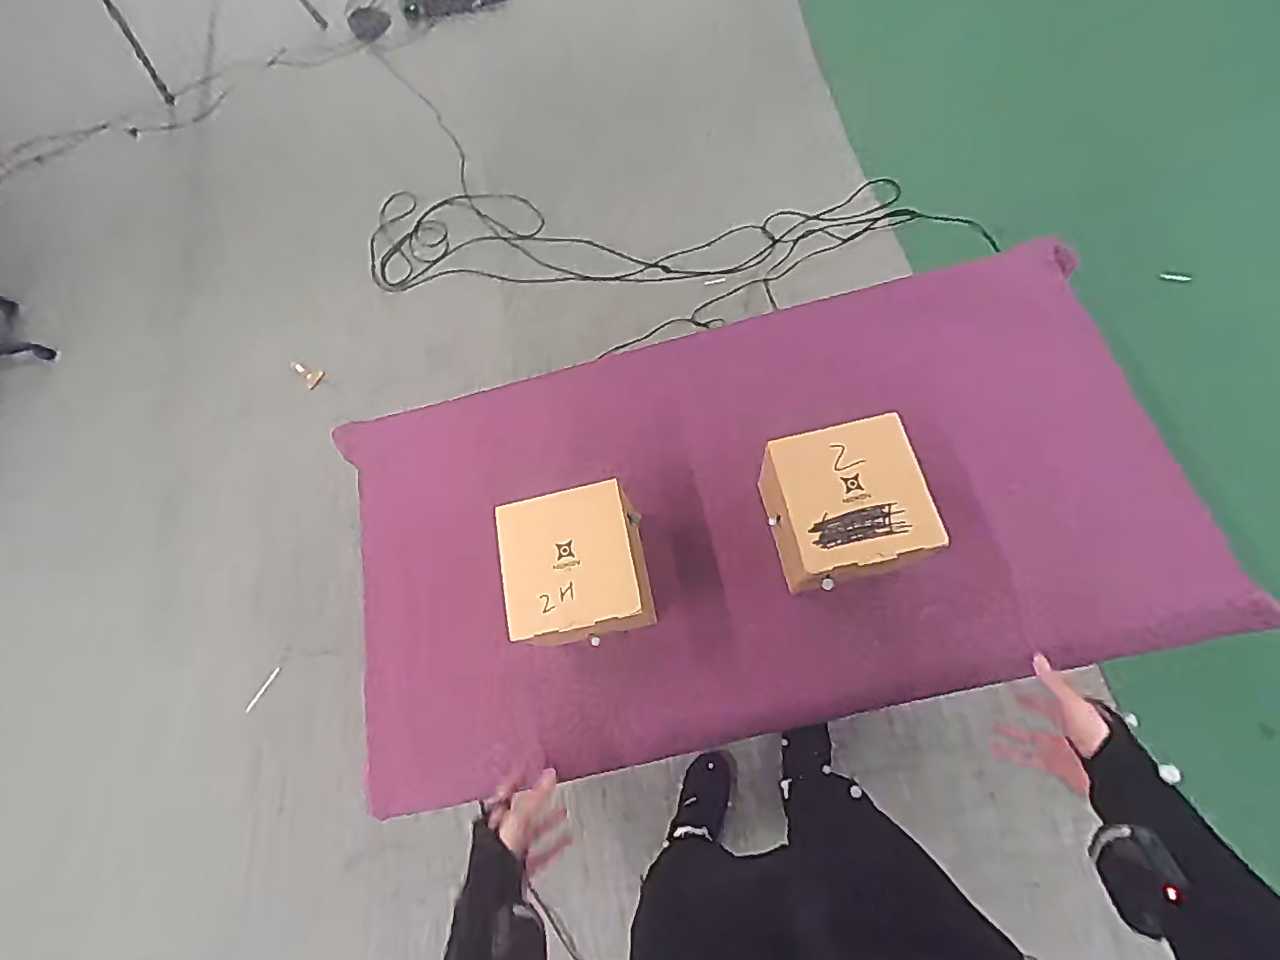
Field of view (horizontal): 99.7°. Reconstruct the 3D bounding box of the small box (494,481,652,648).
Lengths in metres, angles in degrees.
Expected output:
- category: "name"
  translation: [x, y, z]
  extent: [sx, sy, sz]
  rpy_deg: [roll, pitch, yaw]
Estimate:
- category: "small box"
  translation: [-0.084, 0.122, 0.734]
  extent: [0.168, 0.176, 0.179]
  rpy_deg: [-13, 70, 3]
